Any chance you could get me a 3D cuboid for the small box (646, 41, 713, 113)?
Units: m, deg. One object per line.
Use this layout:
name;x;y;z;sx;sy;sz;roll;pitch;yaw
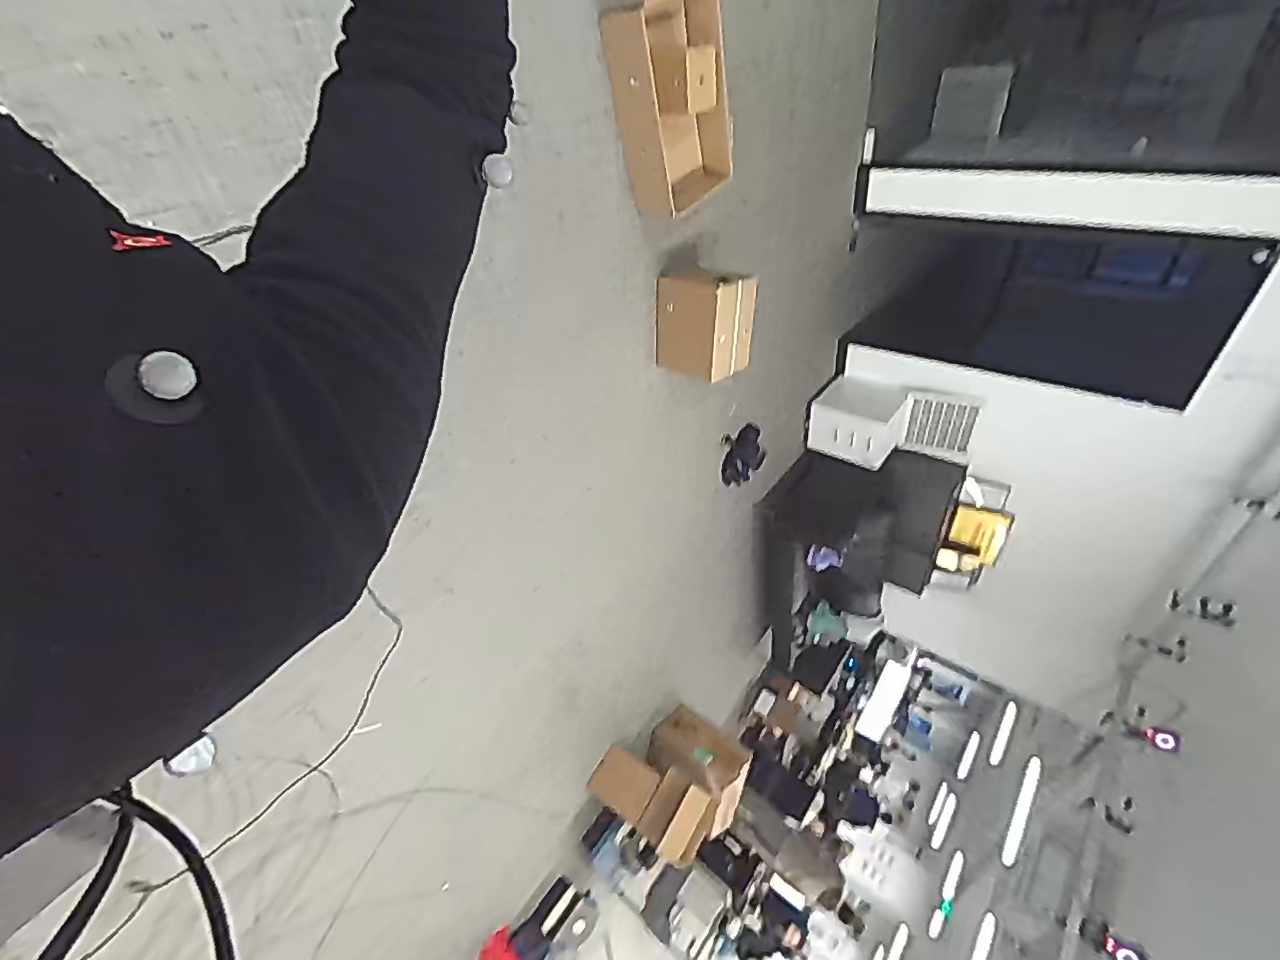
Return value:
small box;0.133;-1.368;1.838;0.168;0.176;0.179;-42;142;-31
